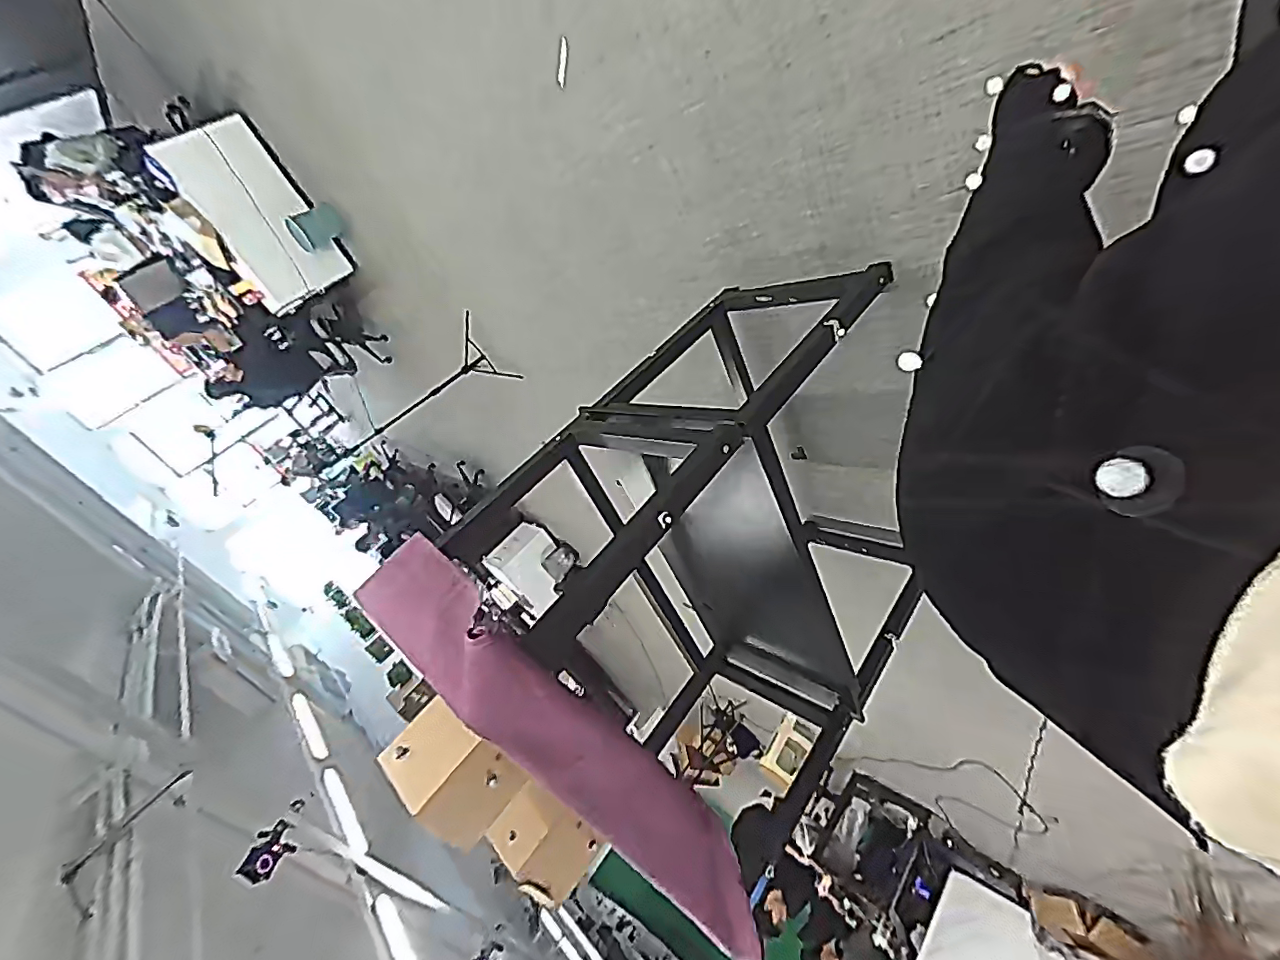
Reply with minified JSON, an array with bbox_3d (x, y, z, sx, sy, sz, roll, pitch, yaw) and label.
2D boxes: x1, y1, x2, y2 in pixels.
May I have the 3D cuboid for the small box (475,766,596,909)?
[{"bbox_3d":[-0.221,0.773,1.186,0.179,0.176,0.168,8,137,52],"label":"small box"}]

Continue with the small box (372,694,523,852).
[{"bbox_3d":[-0.350,0.529,1.001,0.179,0.176,0.168,16,143,45],"label":"small box"}]
